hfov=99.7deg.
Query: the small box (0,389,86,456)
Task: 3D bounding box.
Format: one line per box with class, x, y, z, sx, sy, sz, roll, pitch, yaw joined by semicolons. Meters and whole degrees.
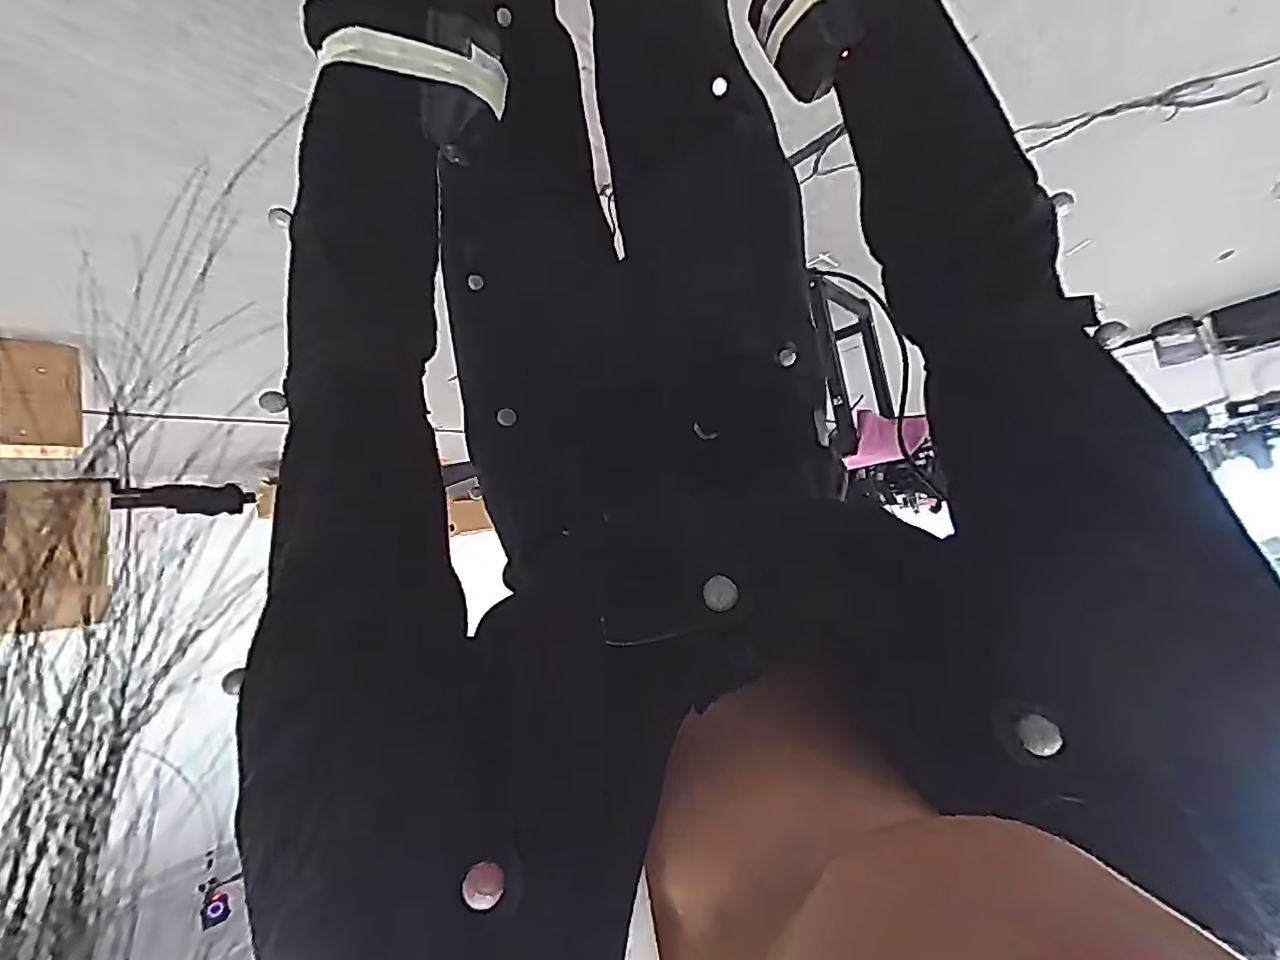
small box;-1.890;-0.179;1.705;0.168;0.176;0.179;-14;172;37
